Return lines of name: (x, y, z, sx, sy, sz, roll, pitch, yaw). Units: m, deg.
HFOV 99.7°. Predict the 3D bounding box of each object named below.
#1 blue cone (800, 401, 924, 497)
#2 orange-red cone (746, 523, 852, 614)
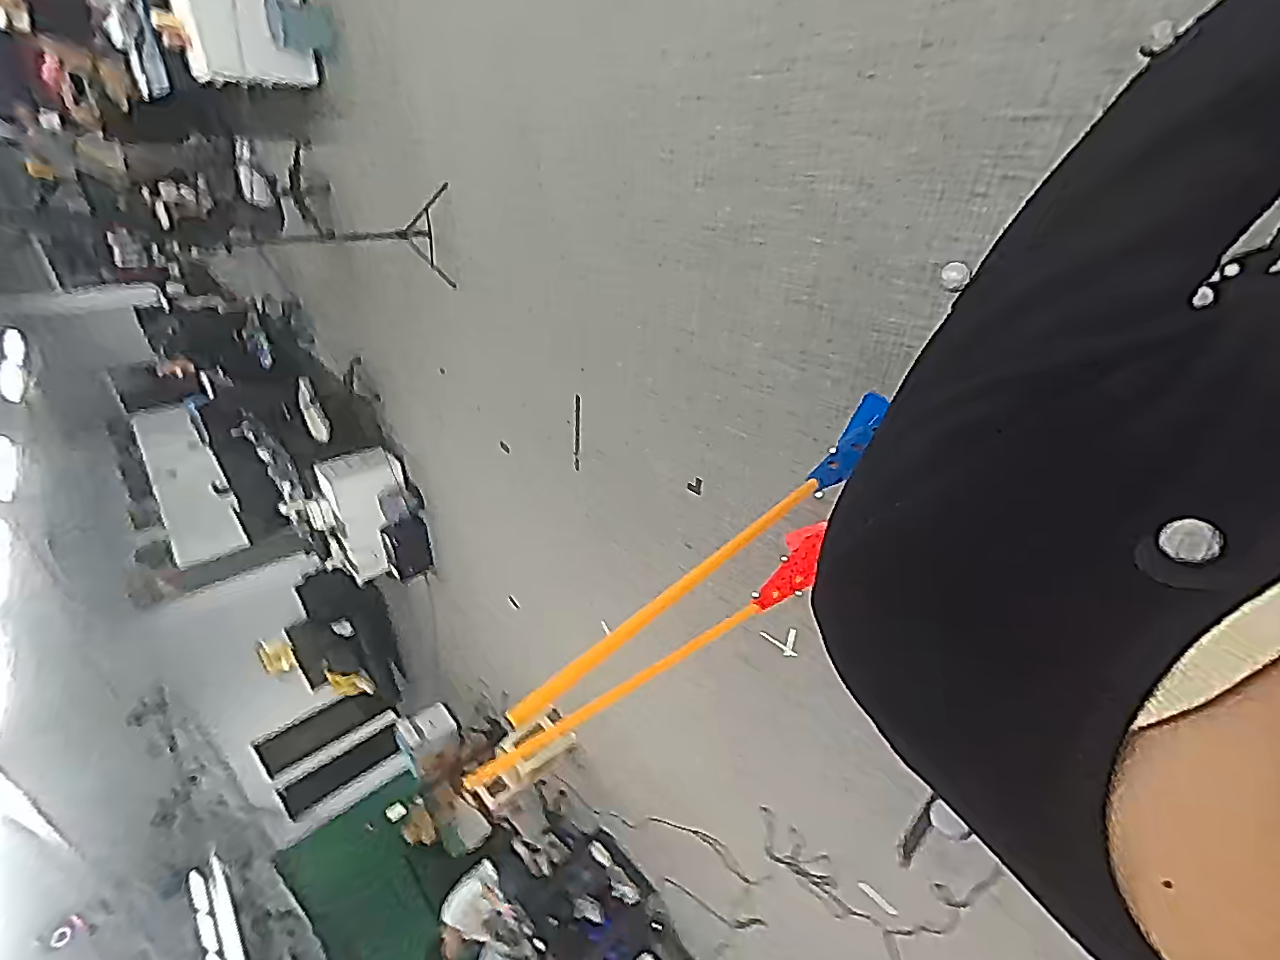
blue cone: (0.519, -0.048, 1.344, 0.193, 0.380, 0.192, 43, 138, 27)
orange-red cone: (0.434, 0.297, 1.610, 0.199, 0.360, 0.198, -31, 86, 51)
